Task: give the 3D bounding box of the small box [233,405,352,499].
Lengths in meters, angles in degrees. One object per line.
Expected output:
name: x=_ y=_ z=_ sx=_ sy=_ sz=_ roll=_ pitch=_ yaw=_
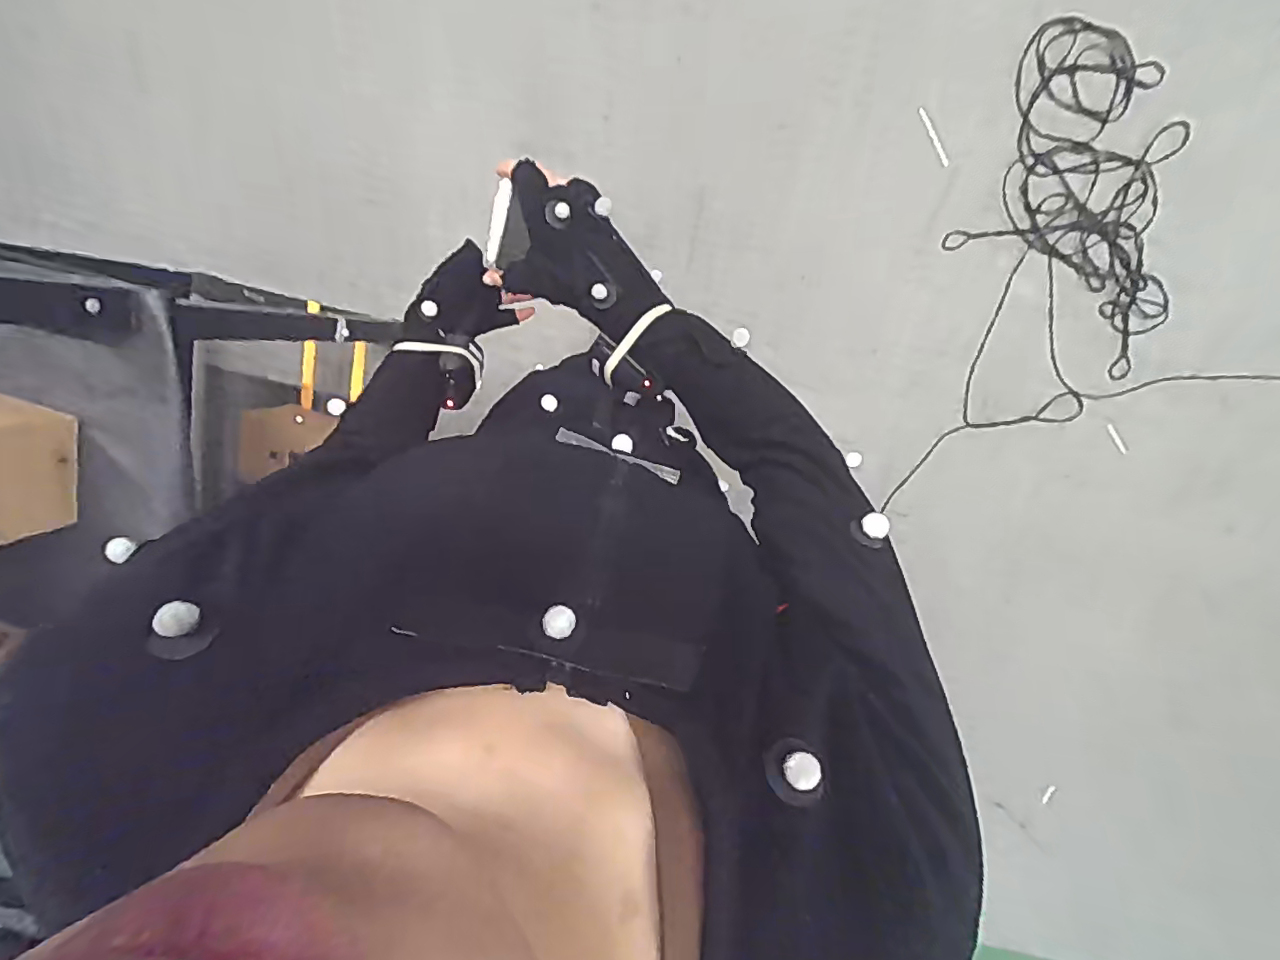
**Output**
small box: x=-0.830 y=-0.075 z=1.306 sx=0.179 sy=0.176 sz=0.168 roll=17 pitch=104 yaw=-2
